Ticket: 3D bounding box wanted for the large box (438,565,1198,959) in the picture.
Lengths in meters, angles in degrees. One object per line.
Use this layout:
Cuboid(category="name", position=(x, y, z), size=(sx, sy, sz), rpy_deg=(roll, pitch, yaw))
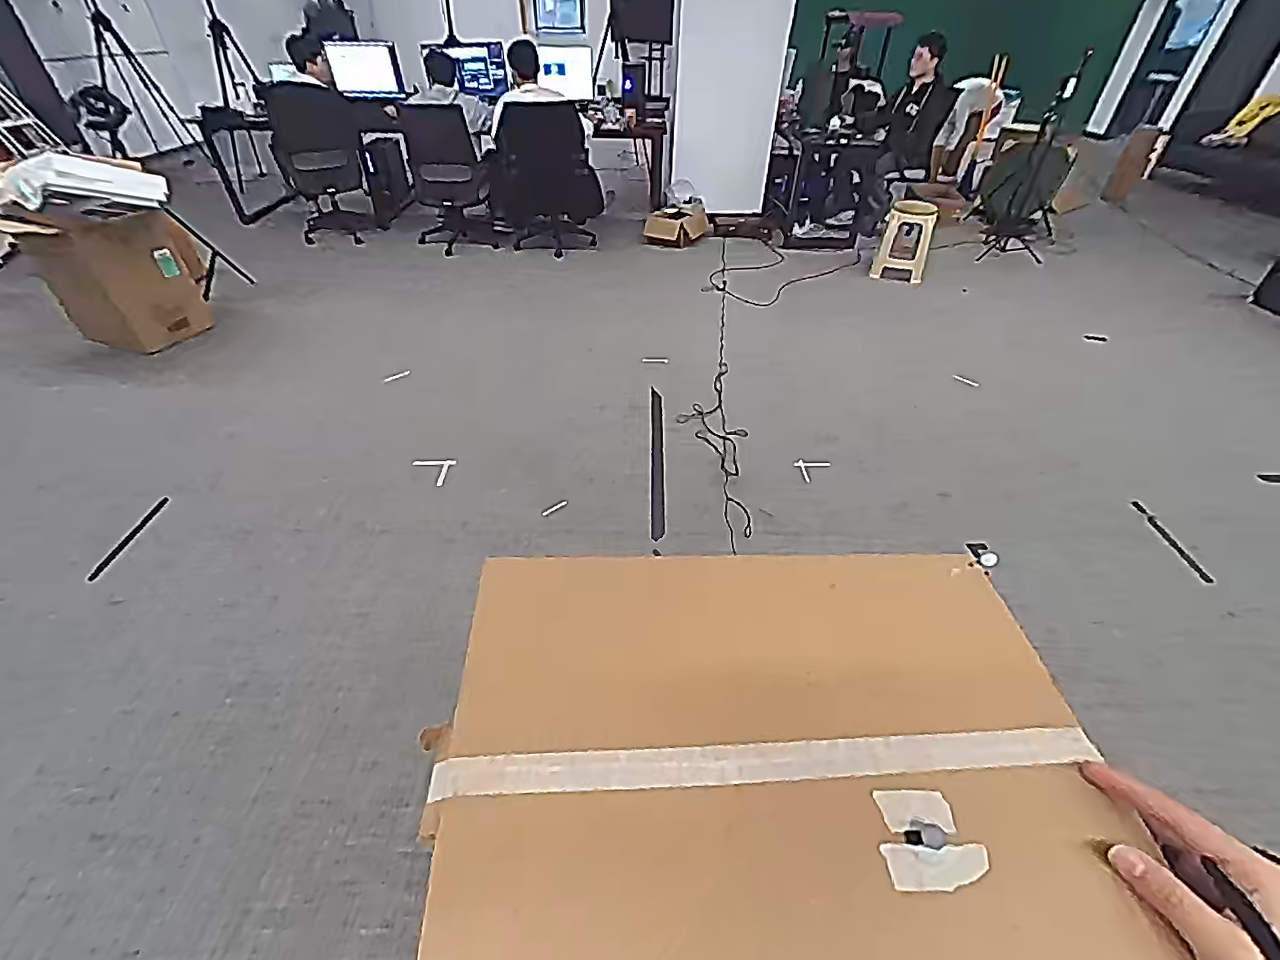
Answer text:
Cuboid(category="large box", position=(0.077, 0.287, 0.442), size=(0.408, 0.320, 0.320), rpy_deg=(0, 46, -6))
